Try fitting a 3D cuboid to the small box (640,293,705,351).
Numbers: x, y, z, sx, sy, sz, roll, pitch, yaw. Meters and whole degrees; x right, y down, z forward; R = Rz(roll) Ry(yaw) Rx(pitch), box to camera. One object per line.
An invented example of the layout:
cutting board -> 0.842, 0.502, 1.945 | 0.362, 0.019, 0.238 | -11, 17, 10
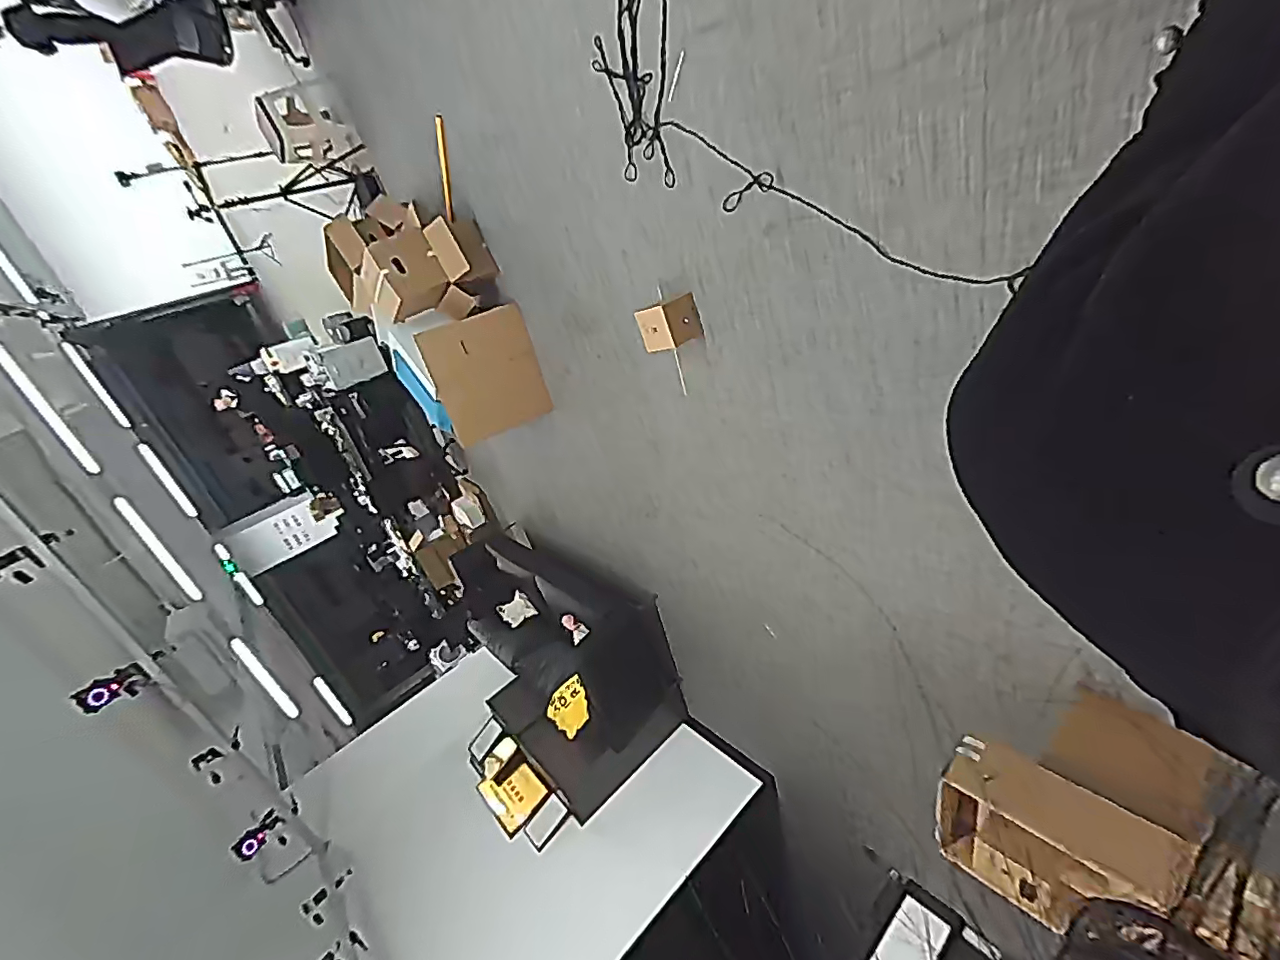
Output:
small box -> 0.137, -0.620, 2.124 | 0.179, 0.176, 0.168 | 9, 126, 53
